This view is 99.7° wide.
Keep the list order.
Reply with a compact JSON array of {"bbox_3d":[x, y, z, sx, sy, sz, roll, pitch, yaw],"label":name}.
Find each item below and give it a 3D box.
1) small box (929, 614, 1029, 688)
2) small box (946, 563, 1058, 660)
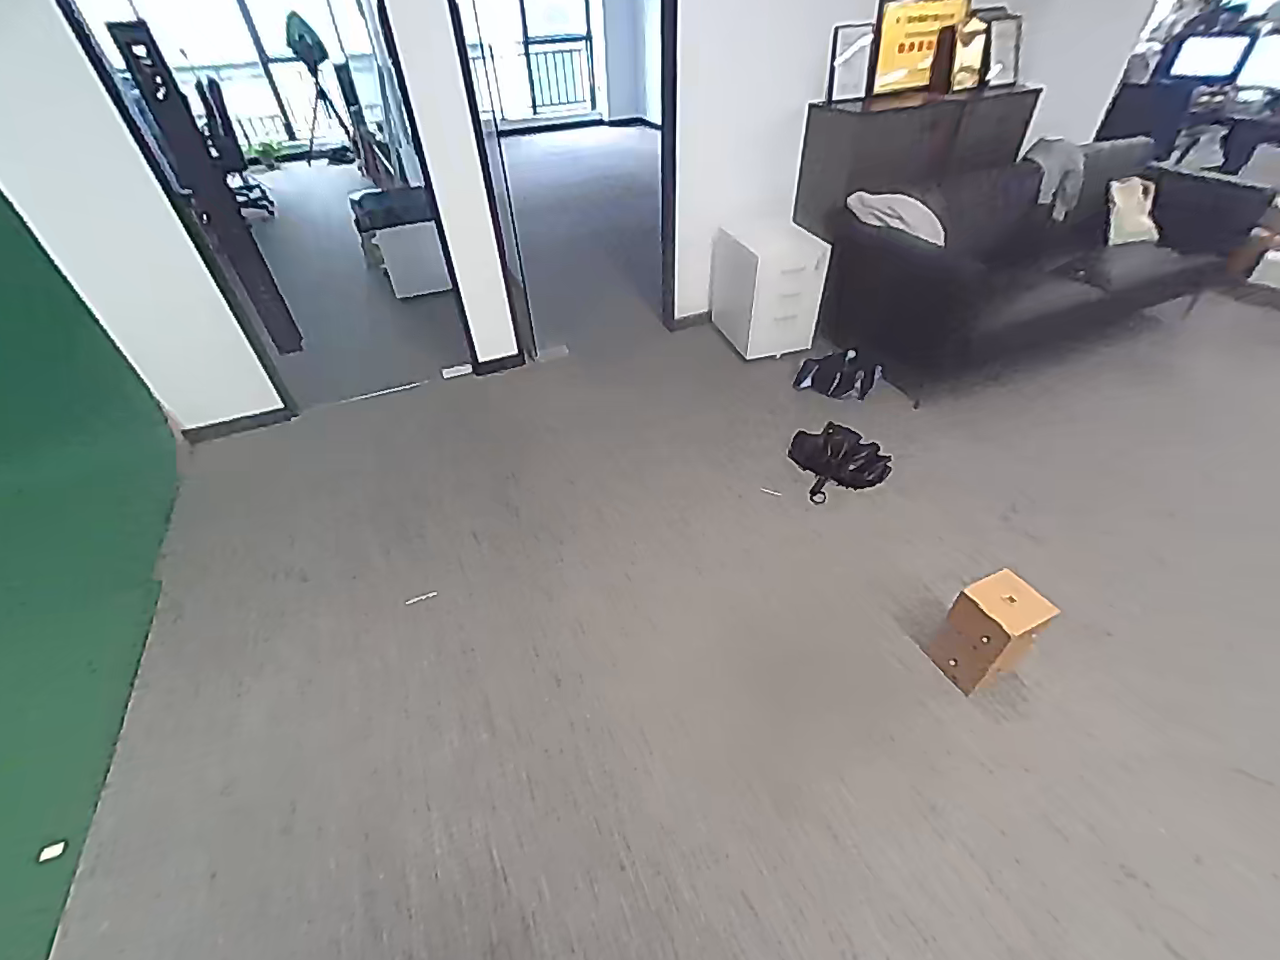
[{"bbox_3d":[0.995,0.485,1.609,0.179,0.176,0.168,-20,46,-17],"label":"small box"},{"bbox_3d":[0.987,0.368,1.496,0.179,0.176,0.168,-18,46,-18],"label":"small box"}]
